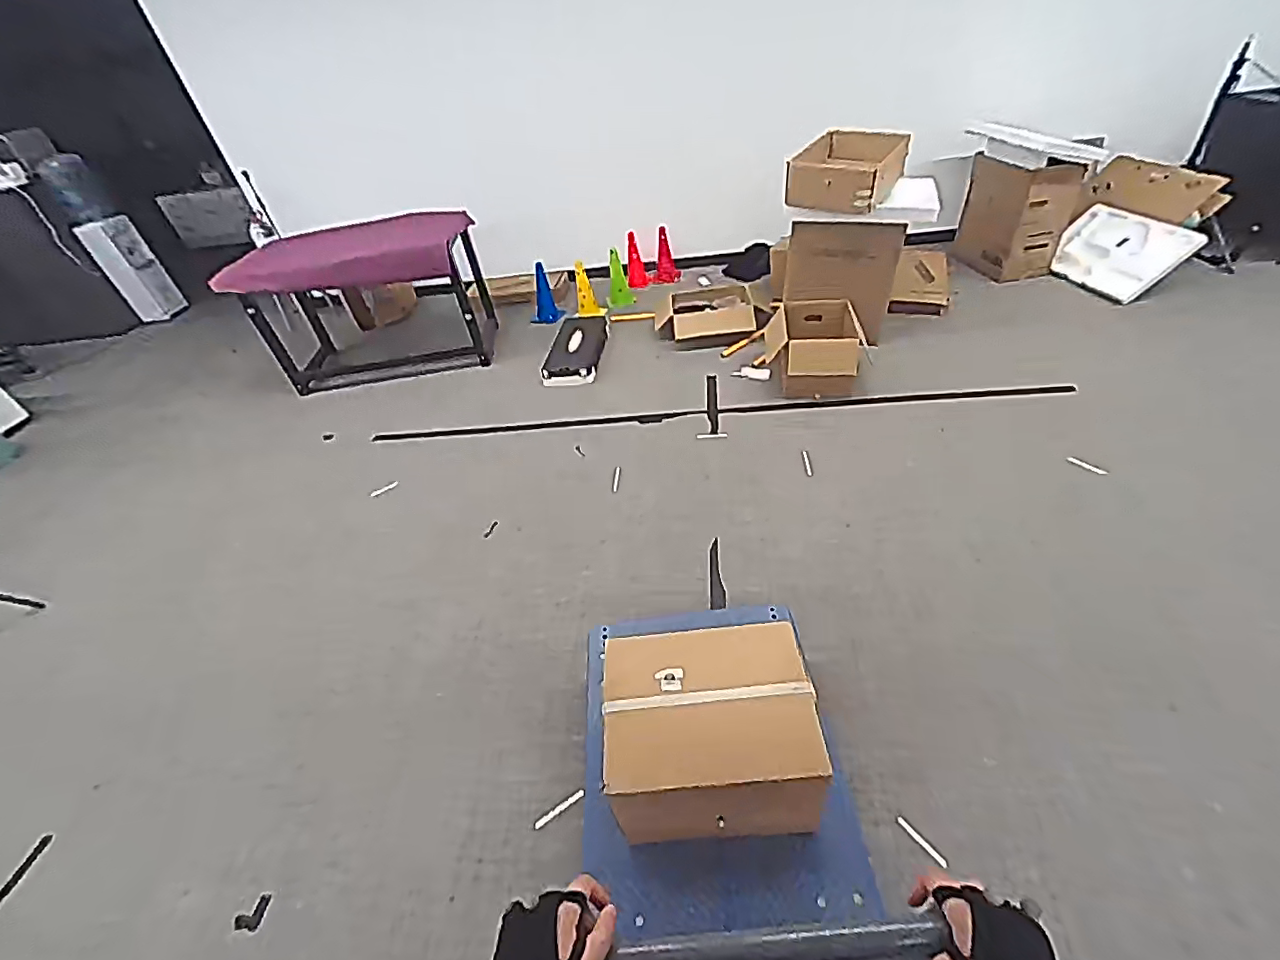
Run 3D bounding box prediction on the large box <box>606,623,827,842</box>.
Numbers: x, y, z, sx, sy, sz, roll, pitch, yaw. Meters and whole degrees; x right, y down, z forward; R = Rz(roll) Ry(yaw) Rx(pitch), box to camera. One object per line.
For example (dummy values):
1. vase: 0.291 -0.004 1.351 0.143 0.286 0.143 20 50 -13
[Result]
1. large box: 0.151 0.549 1.174 0.408 0.320 0.320 -8 40 4
